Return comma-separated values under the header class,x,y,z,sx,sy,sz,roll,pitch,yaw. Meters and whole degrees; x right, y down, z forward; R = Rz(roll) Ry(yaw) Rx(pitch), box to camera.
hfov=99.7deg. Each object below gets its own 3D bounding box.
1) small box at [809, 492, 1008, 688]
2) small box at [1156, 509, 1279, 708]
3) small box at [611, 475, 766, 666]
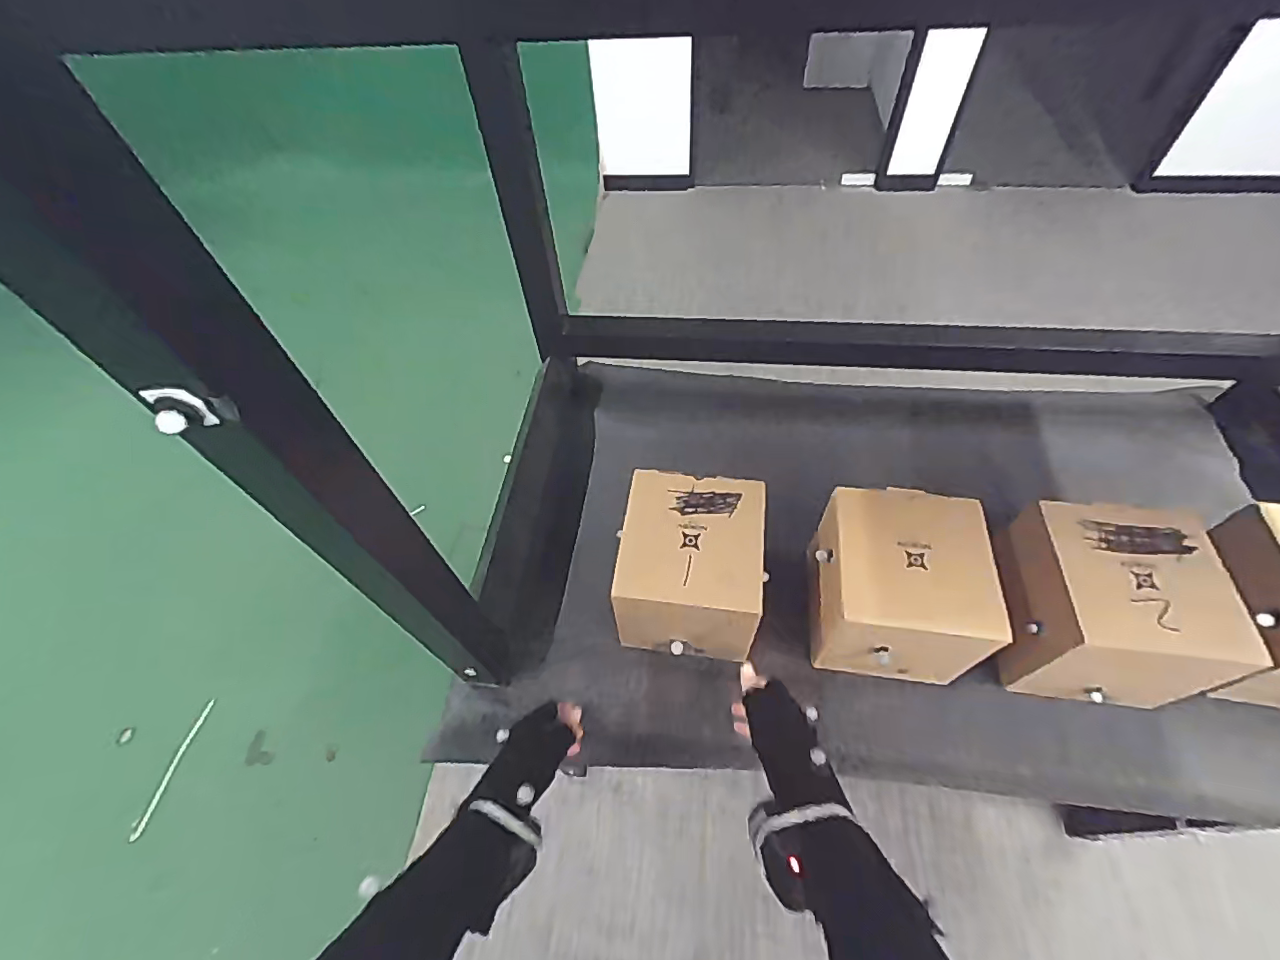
class,x,y,z,sx,sy,sz,roll,pitch,yaw
small box,0.308,0.138,0.663,0.168,0.176,0.179,6,54,8
small box,0.757,0.157,0.613,0.168,0.176,0.179,6,54,9
small box,0.065,0.118,0.695,0.168,0.176,0.179,5,55,8
